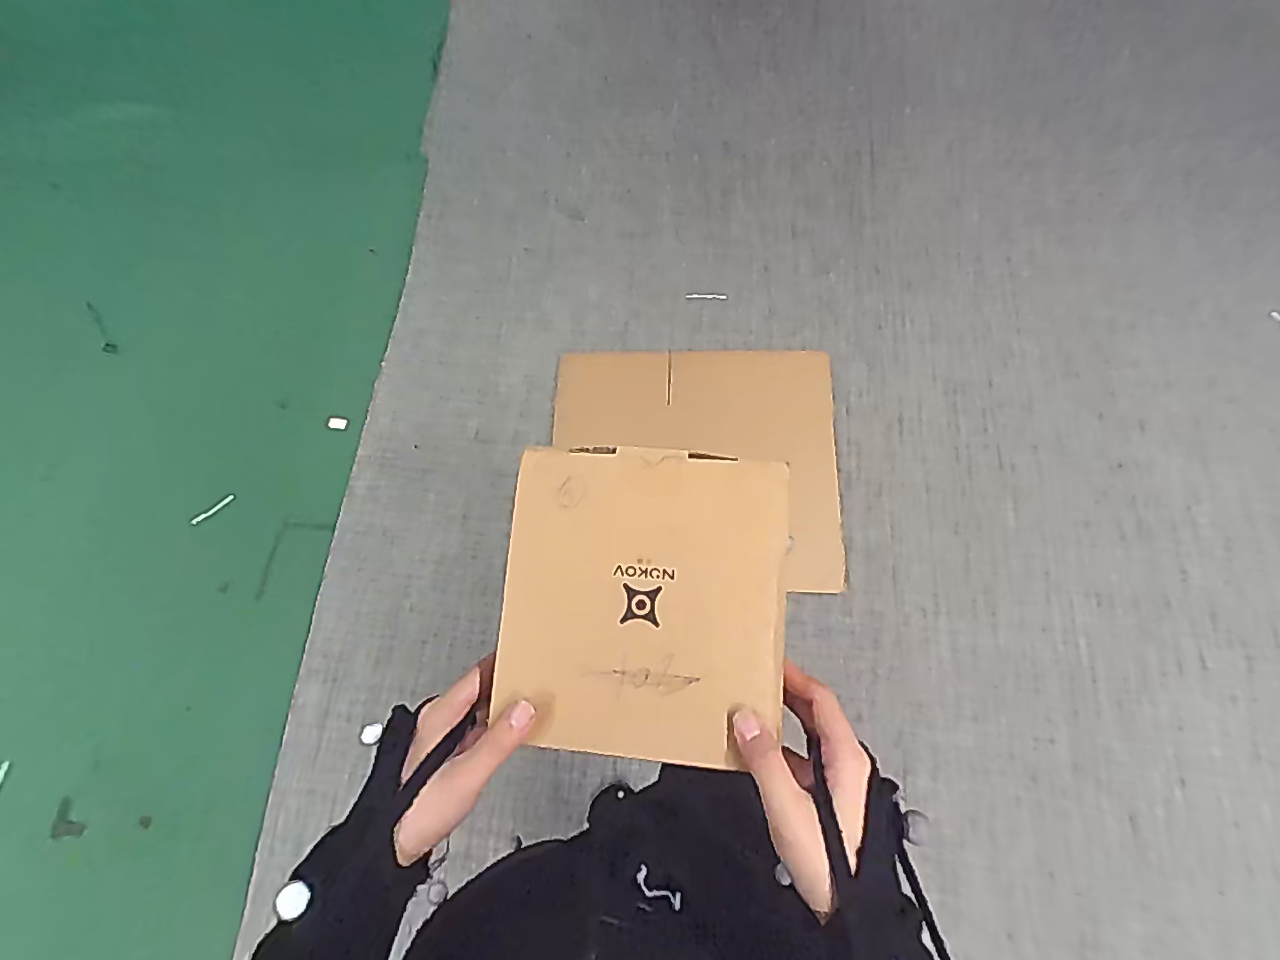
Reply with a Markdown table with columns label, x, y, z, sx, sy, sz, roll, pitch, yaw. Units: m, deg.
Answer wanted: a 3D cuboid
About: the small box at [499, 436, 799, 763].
| label | x | y | z | sx | sy | sz | roll | pitch | yaw |
| --- | --- | --- | --- | --- | --- | --- | --- | --- | --- |
| small box | 0.014 | 0.076 | 0.393 | 0.168 | 0.176 | 0.179 | 3 | 81 | 7 |
